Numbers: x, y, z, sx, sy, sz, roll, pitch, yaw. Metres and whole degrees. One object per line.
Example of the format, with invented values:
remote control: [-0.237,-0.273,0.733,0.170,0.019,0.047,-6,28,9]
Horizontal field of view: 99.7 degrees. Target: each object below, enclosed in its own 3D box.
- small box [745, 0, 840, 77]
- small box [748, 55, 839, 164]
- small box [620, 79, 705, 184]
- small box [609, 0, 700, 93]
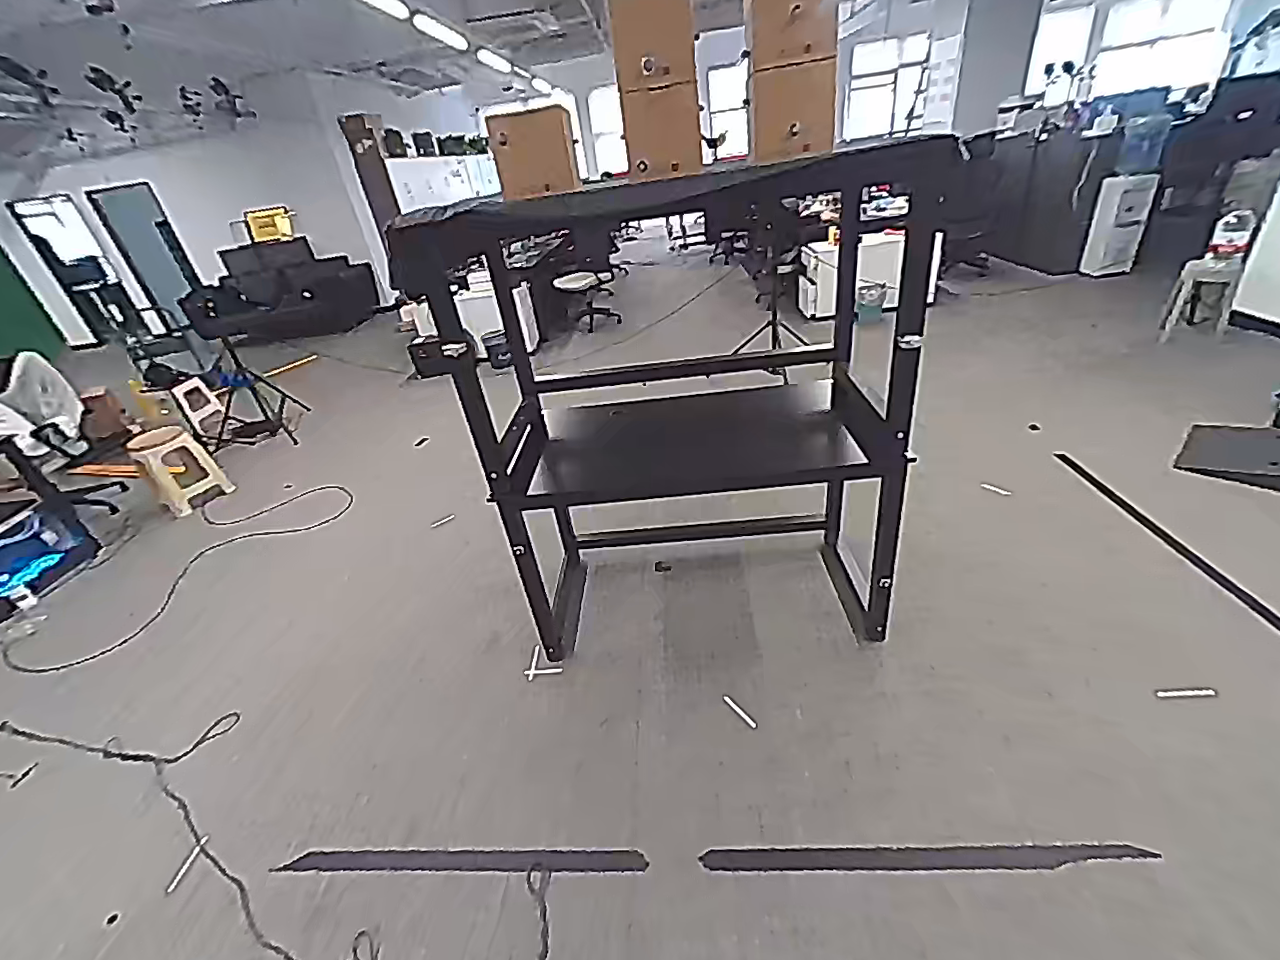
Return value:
small box: [0.305,-0.936,1.097,0.168,0.176,0.179,-5,31,8]
small box: [0.327,-0.795,1.179,0.168,0.176,0.179,-6,30,8]
small box: [0.055,-0.768,1.208,0.168,0.176,0.179,-5,29,6]
small box: [0.034,-0.909,1.130,0.168,0.176,0.179,-6,30,7]
